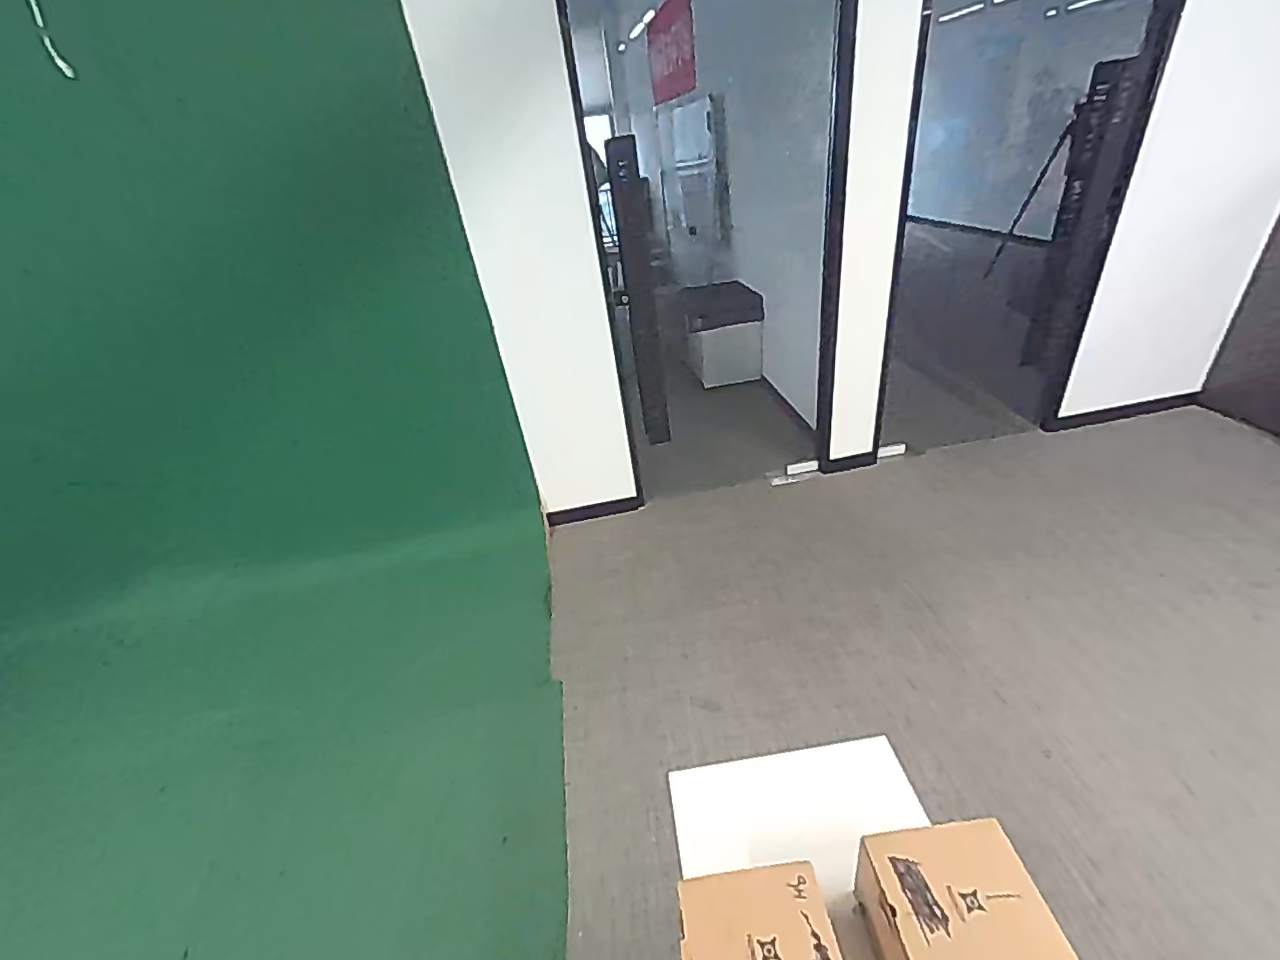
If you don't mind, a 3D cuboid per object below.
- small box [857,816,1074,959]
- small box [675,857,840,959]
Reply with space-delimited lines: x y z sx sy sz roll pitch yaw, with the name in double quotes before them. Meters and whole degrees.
"small box" 0.385 0.558 0.676 0.179 0.176 0.168 -8 32 1
"small box" 0.145 0.602 0.663 0.179 0.176 0.168 -8 32 -1
